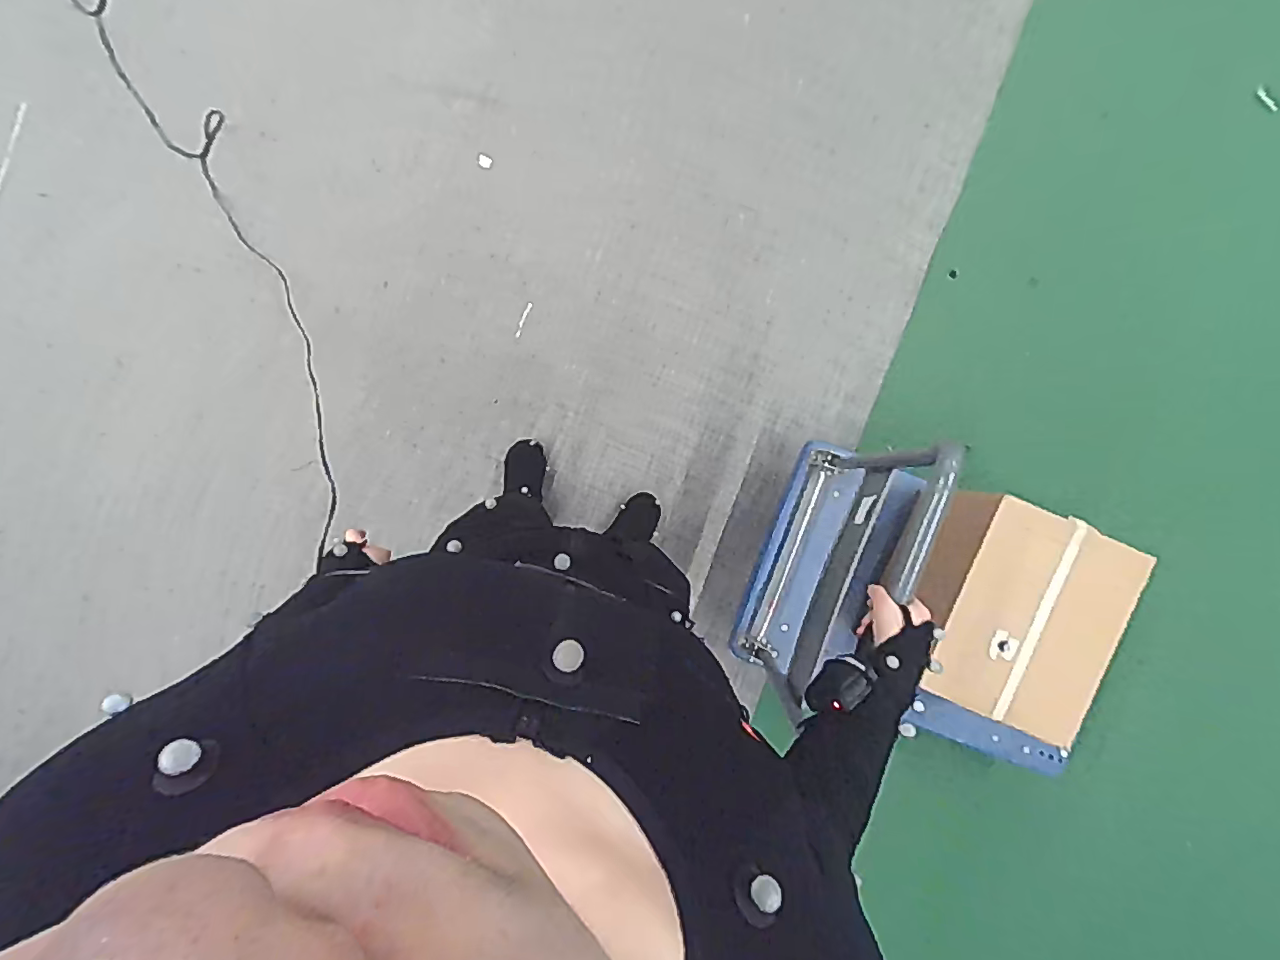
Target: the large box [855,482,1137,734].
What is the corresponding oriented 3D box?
[{"bbox_3d":[0.741,0.247,1.187,0.320,0.320,0.408,24,92,0],"label":"large box"}]
